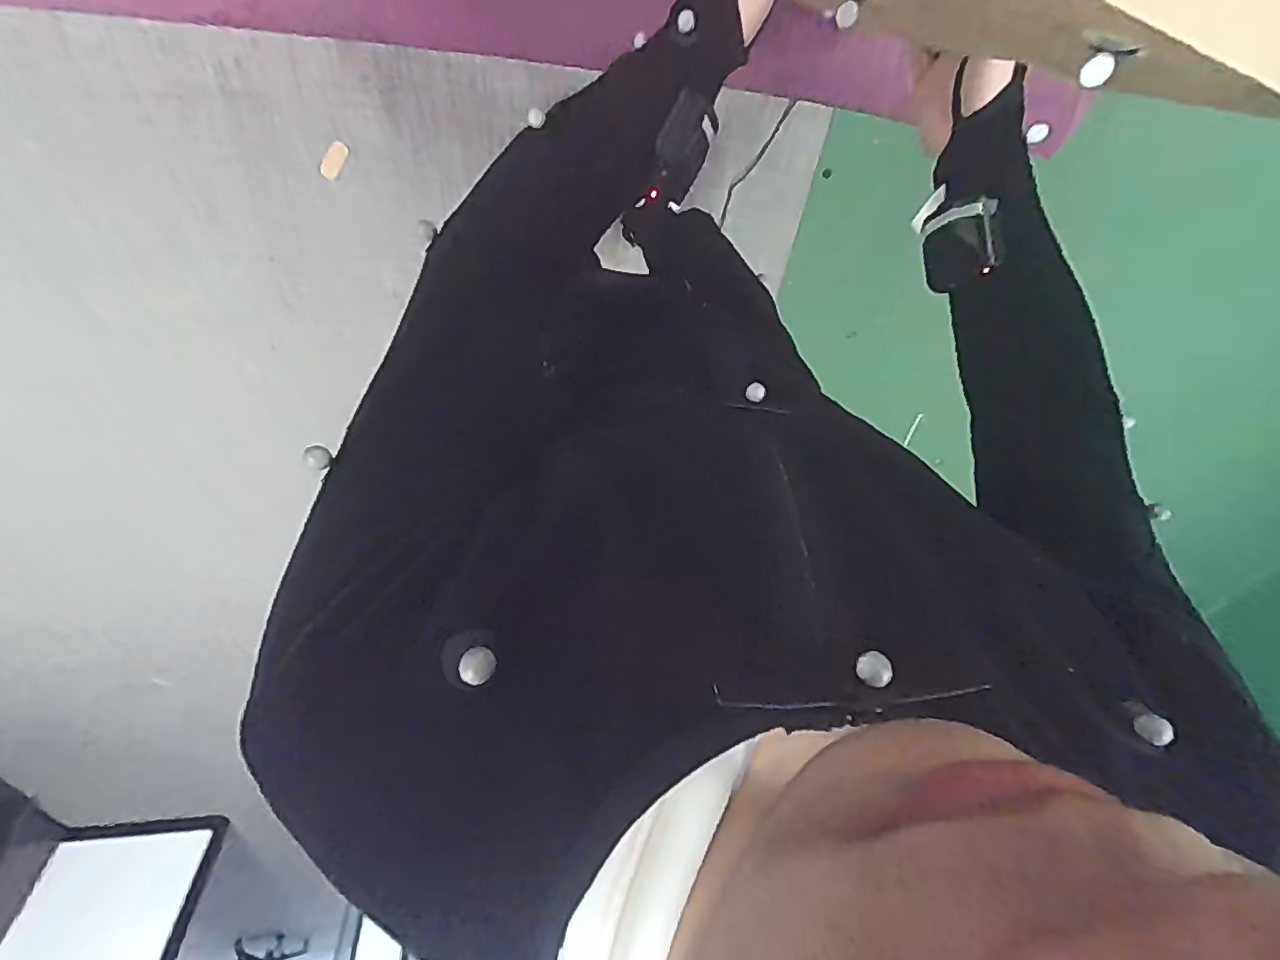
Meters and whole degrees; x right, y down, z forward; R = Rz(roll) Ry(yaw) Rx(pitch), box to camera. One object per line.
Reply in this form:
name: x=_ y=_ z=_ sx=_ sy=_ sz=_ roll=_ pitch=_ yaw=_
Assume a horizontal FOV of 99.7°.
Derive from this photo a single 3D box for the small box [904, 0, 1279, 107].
small box: x=0.217 y=-0.273 z=0.209 sx=0.179 sy=0.176 sz=0.168 roll=10 pitch=131 yaw=-14
